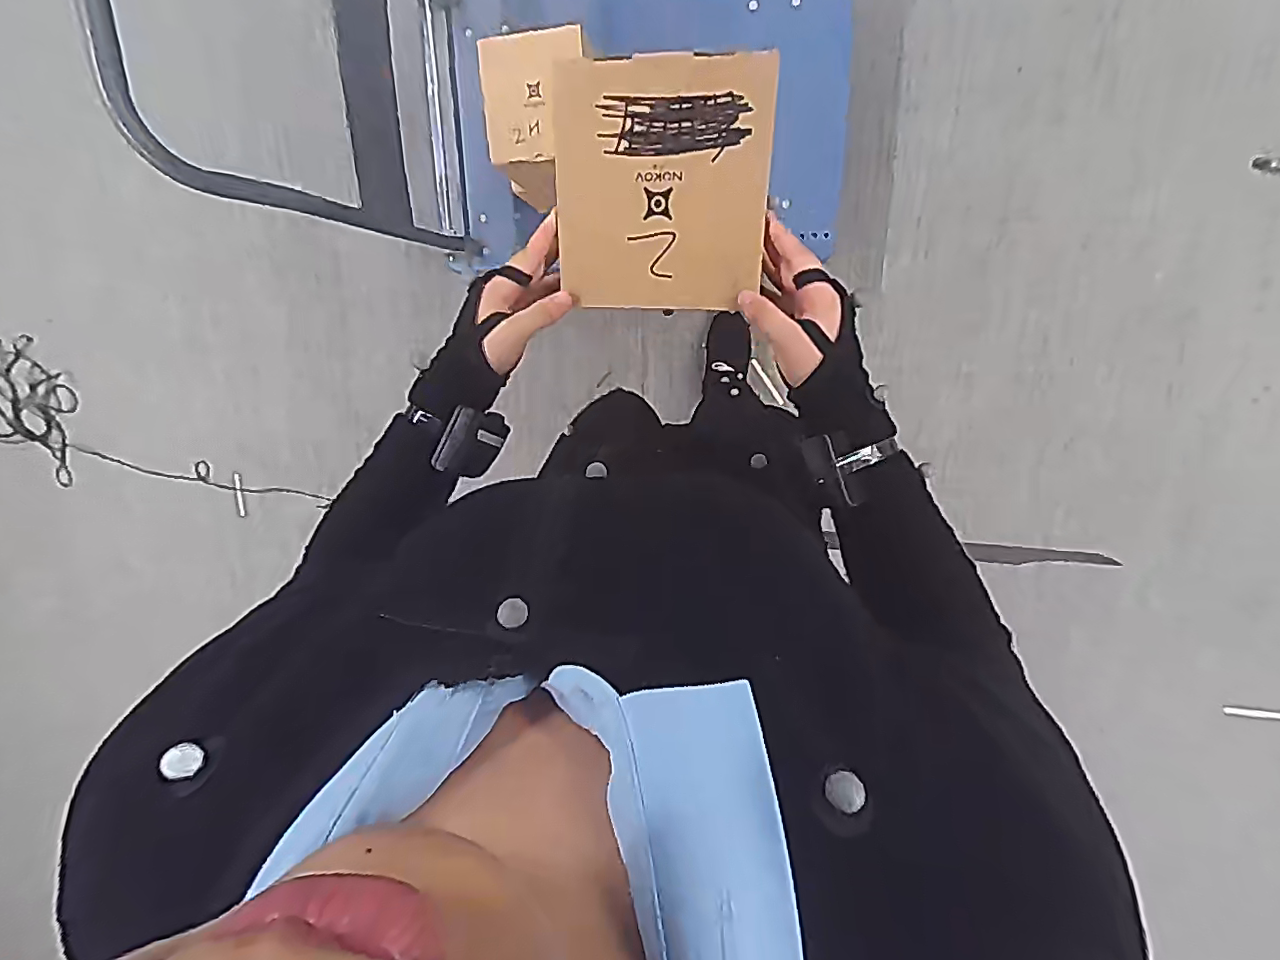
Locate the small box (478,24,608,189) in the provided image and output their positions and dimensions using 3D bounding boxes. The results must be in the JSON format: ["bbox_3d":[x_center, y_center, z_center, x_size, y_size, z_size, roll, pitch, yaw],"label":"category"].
[{"bbox_3d":[-0.153,-0.611,0.907,0.168,0.176,0.179,-1,105,9],"label":"small box"}]

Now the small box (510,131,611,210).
[{"bbox_3d":[-0.156,-0.653,1.069,0.168,0.176,0.179,-2,105,8],"label":"small box"}]
